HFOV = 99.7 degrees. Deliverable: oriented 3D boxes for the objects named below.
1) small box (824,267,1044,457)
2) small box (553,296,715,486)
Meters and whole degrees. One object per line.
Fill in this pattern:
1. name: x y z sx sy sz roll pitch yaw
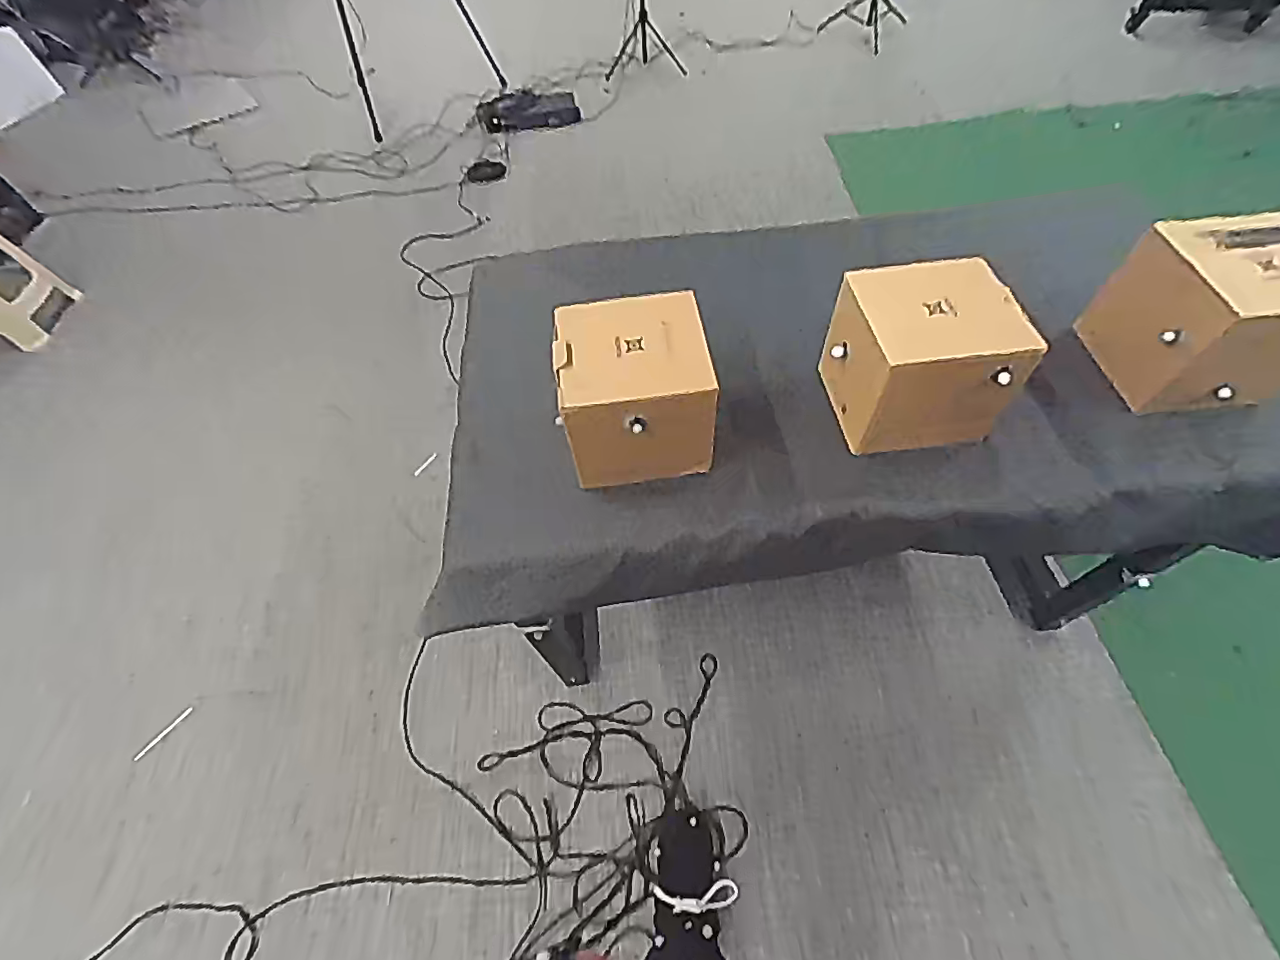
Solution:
1. small box: 0.348 -0.143 0.689 0.179 0.176 0.168 -6 56 -1
2. small box: -0.008 -0.105 0.687 0.179 0.176 0.168 -7 57 -2
